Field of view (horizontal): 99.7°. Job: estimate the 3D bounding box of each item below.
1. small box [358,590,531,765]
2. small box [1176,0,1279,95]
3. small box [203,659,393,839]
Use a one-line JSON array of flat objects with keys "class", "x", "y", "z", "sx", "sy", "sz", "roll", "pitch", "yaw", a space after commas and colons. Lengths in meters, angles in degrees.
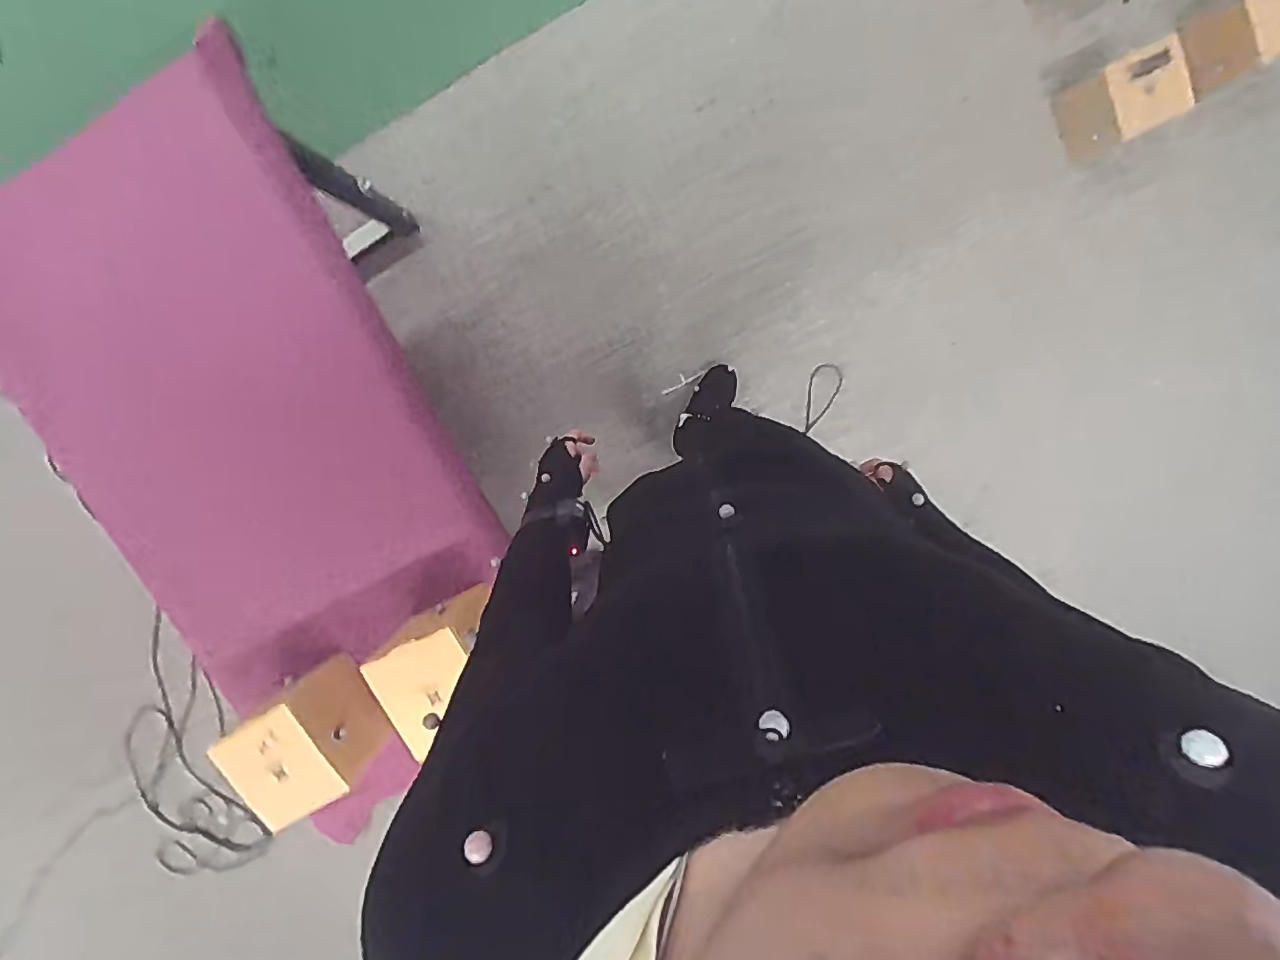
[{"class": "small box", "x": -0.300, "y": 0.309, "z": 0.873, "sx": 0.168, "sy": 0.176, "sz": 0.179, "roll": -27, "pitch": 97, "yaw": 9}, {"class": "small box", "x": 1.439, "y": -1.056, "z": 1.273, "sx": 0.168, "sy": 0.176, "sz": 0.179, "roll": -26, "pitch": 98, "yaw": 6}, {"class": "small box", "x": -0.556, "y": 0.441, "z": 0.910, "sx": 0.168, "sy": 0.176, "sz": 0.179, "roll": -31, "pitch": 97, "yaw": 7}]
